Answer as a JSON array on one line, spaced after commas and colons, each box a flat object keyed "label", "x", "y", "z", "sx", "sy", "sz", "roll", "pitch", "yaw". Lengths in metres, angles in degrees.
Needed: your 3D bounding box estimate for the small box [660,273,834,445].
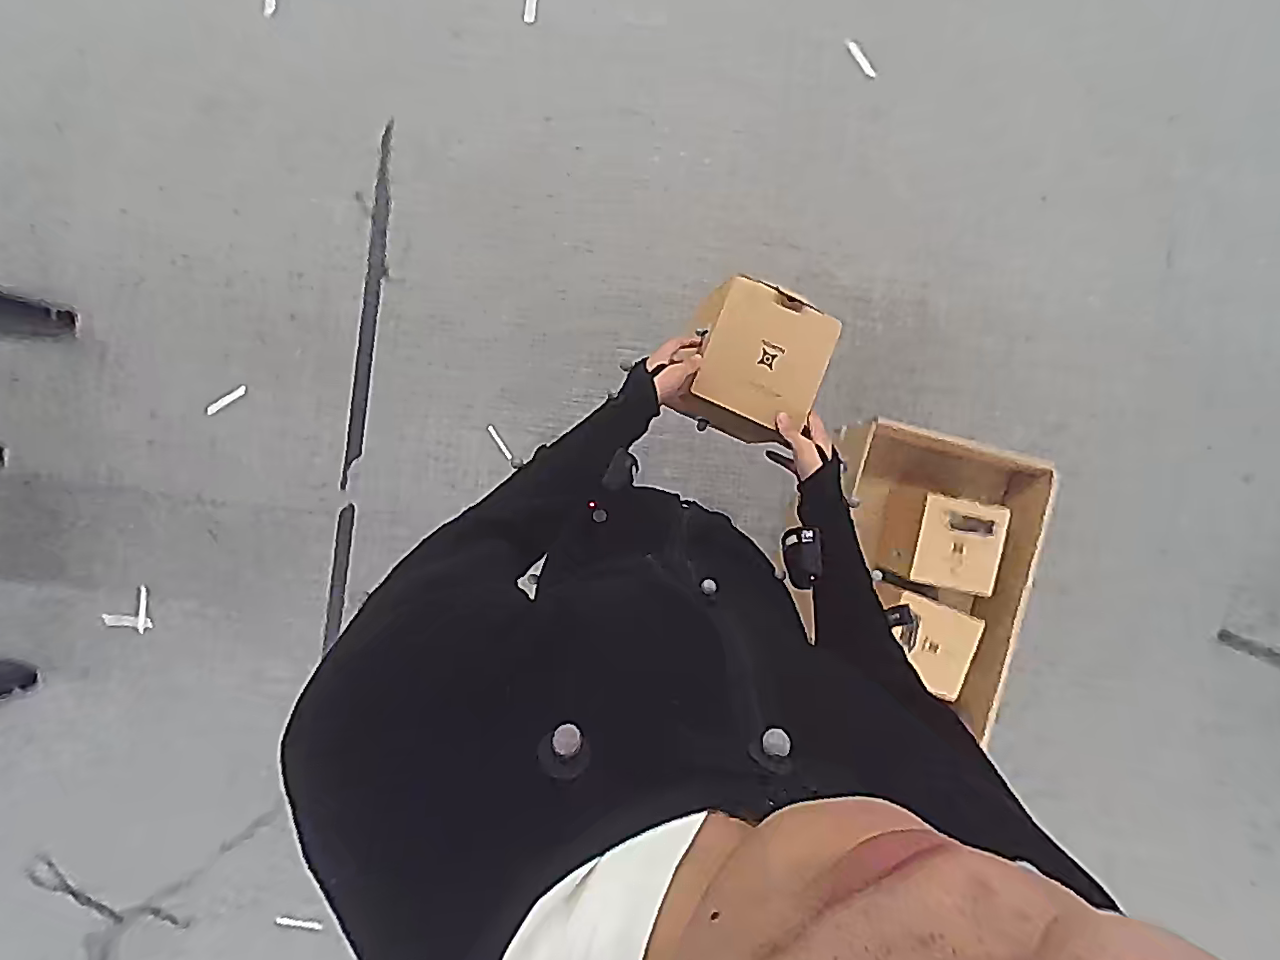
[{"label": "small box", "x": 0.143, "y": -0.161, "z": 0.787, "sx": 0.168, "sy": 0.176, "sz": 0.179, "roll": 21, "pitch": 87, "yaw": -11}]
